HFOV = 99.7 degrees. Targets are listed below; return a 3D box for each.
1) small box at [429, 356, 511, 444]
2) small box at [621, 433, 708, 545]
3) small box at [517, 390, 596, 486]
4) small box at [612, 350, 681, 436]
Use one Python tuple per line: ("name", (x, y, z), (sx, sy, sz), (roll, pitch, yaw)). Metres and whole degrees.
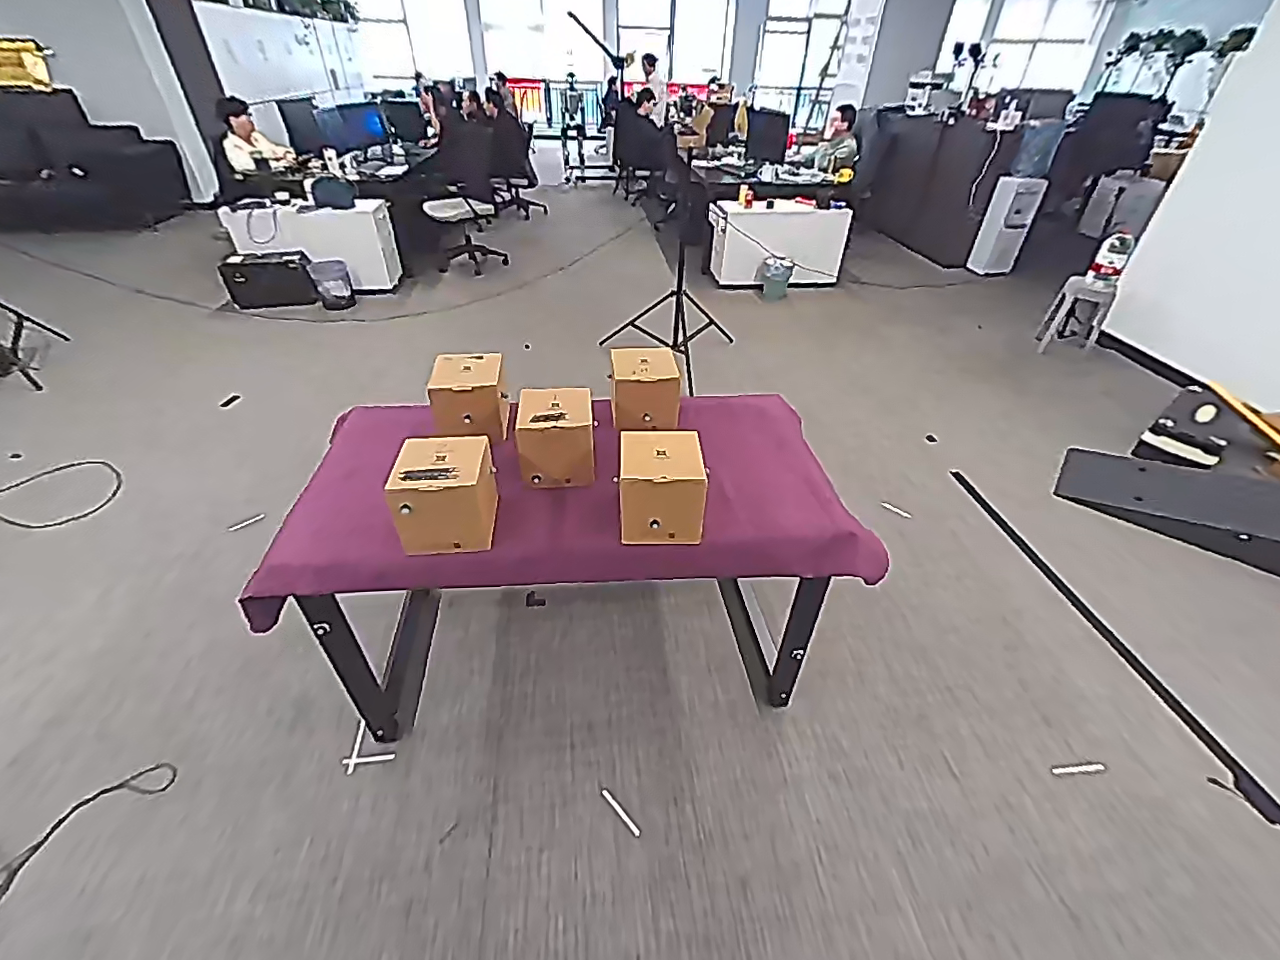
("small box", (-0.432, -0.203, 1.403), (0.168, 0.176, 0.179), (-3, 40, -6))
("small box", (0.044, 0.017, 1.137), (0.168, 0.176, 0.179), (0, 37, -2))
("small box", (-0.191, -0.095, 1.275), (0.168, 0.176, 0.179), (-3, 37, -5))
("small box", (0.011, -0.236, 1.458), (0.168, 0.176, 0.179), (-4, 39, -5))
